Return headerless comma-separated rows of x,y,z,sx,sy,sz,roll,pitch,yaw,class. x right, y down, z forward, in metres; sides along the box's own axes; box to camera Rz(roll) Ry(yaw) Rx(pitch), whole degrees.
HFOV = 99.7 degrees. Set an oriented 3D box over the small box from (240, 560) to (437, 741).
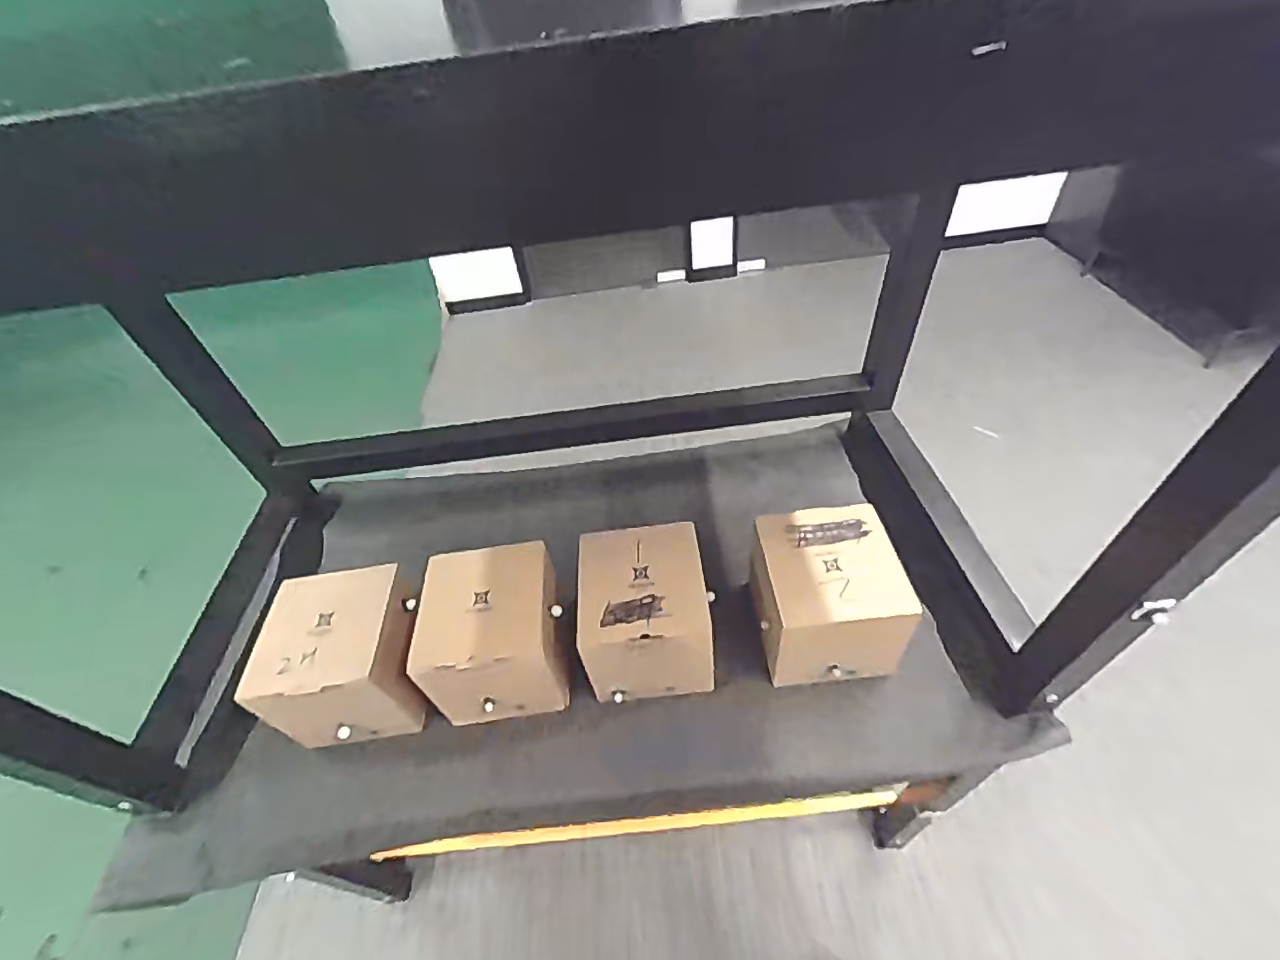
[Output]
-0.402,0.240,0.763,0.168,0.176,0.179,-9,45,0,small box
